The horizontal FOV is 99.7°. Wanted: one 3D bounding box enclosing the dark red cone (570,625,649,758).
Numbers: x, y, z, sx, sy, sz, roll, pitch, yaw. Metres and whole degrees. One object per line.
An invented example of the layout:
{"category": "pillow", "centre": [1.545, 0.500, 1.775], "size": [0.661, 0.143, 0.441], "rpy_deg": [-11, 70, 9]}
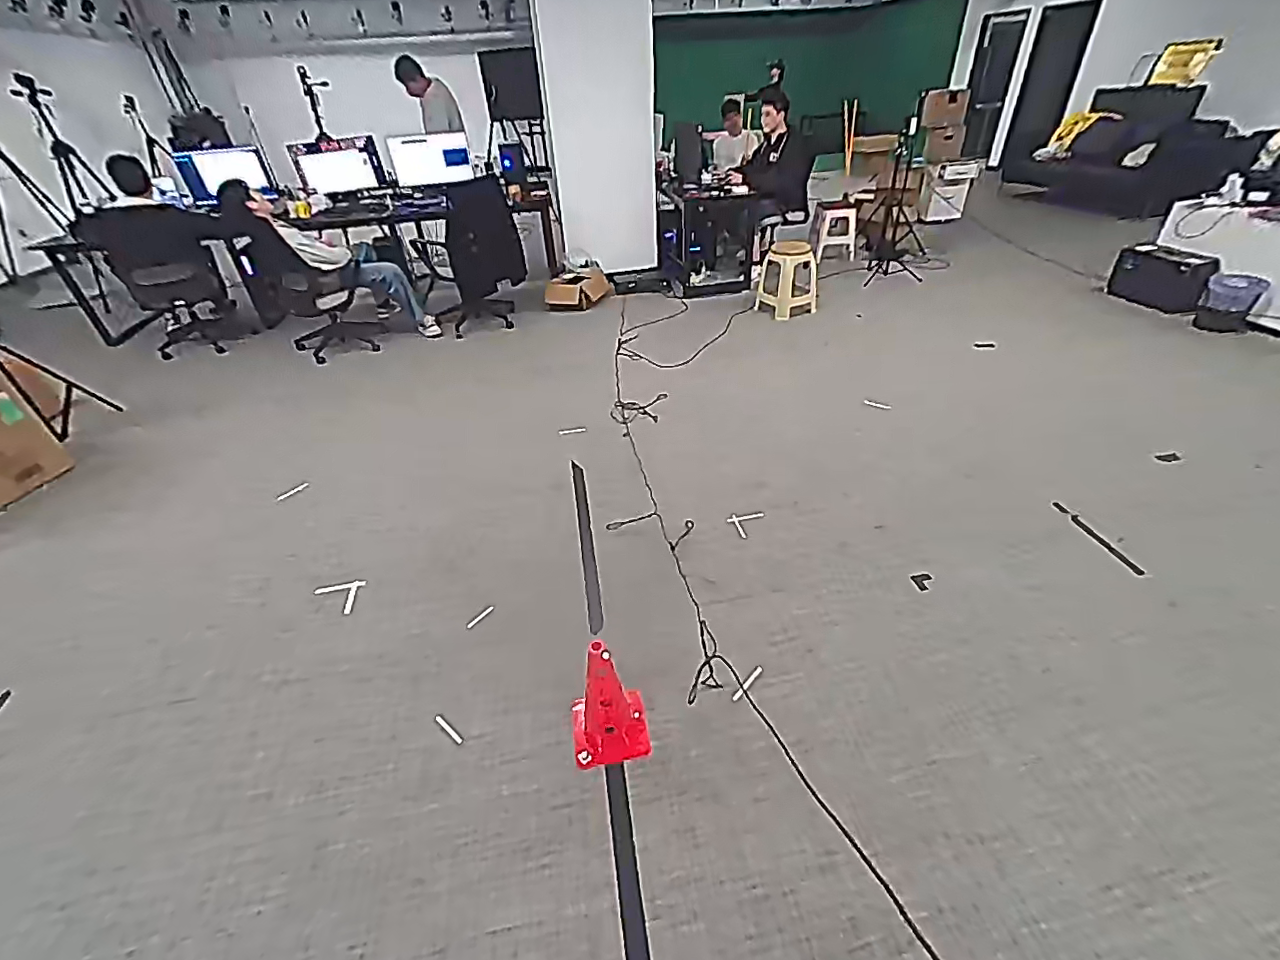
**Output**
{"category": "dark red cone", "centre": [-0.092, 0.517, 1.380], "size": [0.201, 0.394, 0.202], "rpy_deg": [-8, 36, -7]}
